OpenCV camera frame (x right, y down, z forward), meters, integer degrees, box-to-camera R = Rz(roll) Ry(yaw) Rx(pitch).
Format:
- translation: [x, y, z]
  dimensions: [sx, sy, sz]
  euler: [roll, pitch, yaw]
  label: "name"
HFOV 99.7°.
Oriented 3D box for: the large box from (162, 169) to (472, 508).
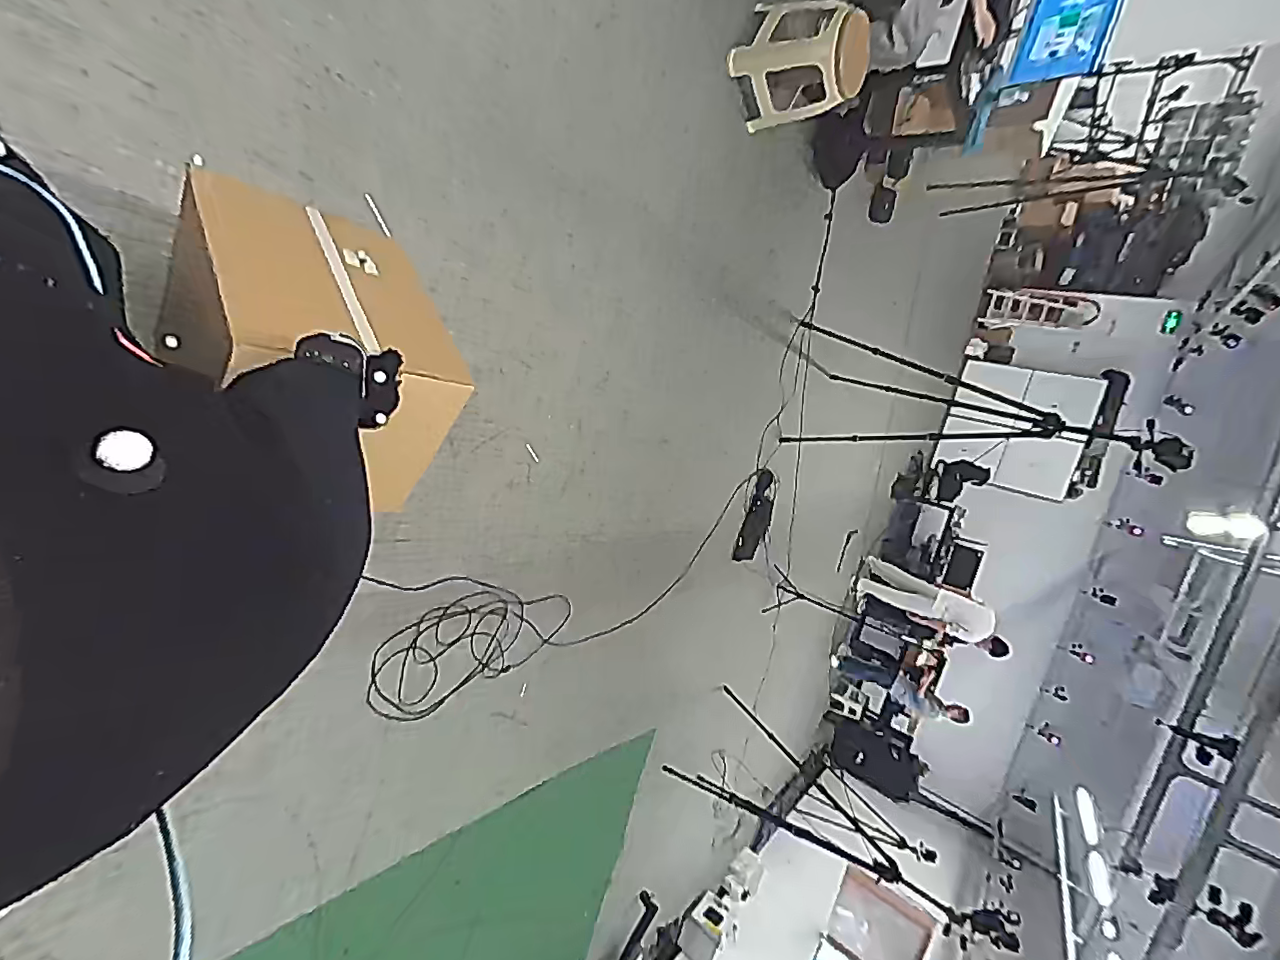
- translation: [-0.542, -0.203, 0.886]
  dimensions: [0.320, 0.408, 0.320]
  euler: [3, 137, -50]
  label: "large box"
